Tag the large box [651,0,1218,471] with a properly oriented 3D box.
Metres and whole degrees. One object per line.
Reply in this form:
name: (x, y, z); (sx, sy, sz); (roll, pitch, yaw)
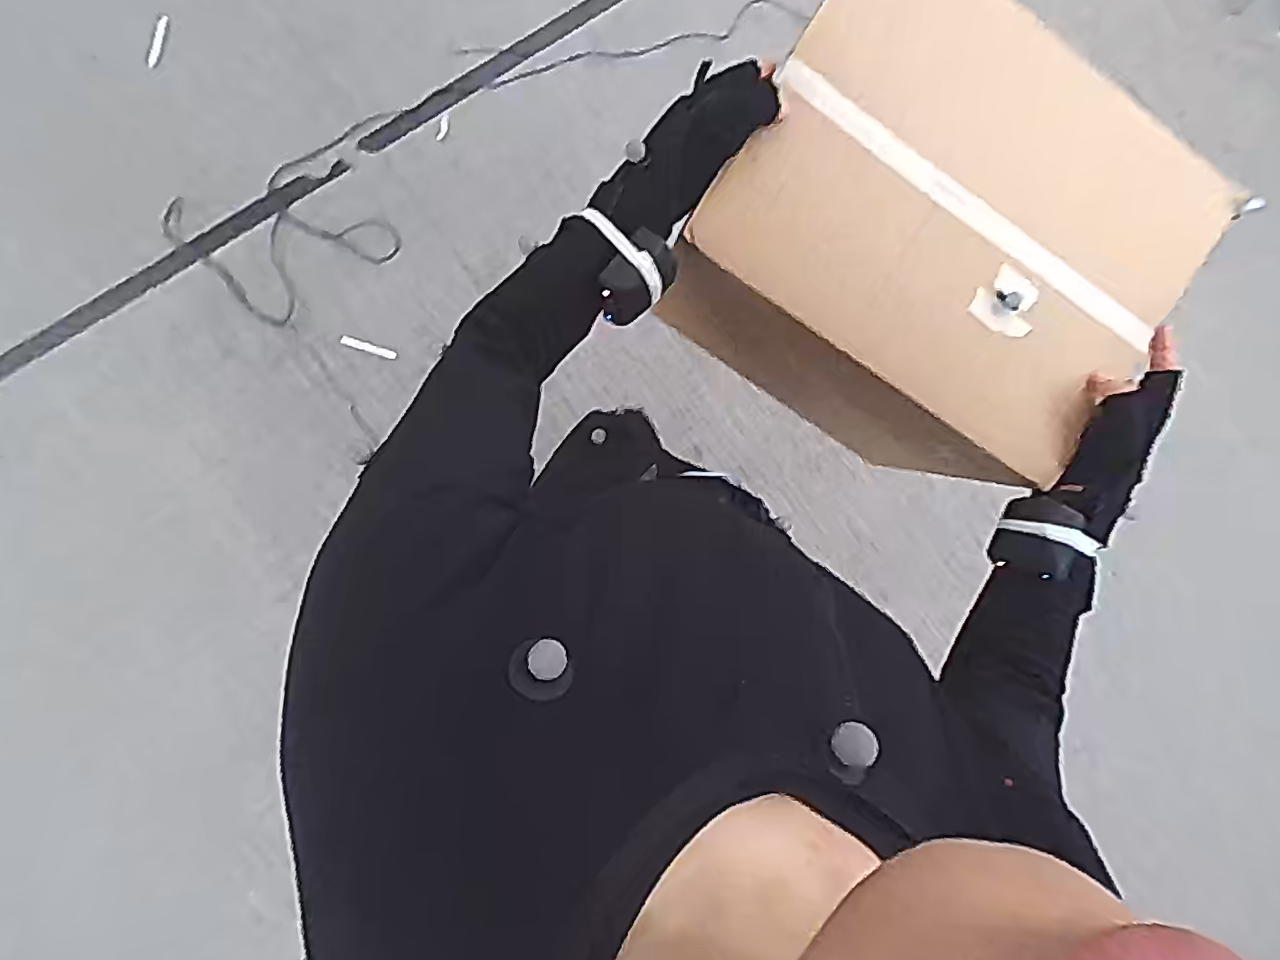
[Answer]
large box: (0.269, -0.253, 0.622); (0.408, 0.320, 0.320); (32, 94, -8)
